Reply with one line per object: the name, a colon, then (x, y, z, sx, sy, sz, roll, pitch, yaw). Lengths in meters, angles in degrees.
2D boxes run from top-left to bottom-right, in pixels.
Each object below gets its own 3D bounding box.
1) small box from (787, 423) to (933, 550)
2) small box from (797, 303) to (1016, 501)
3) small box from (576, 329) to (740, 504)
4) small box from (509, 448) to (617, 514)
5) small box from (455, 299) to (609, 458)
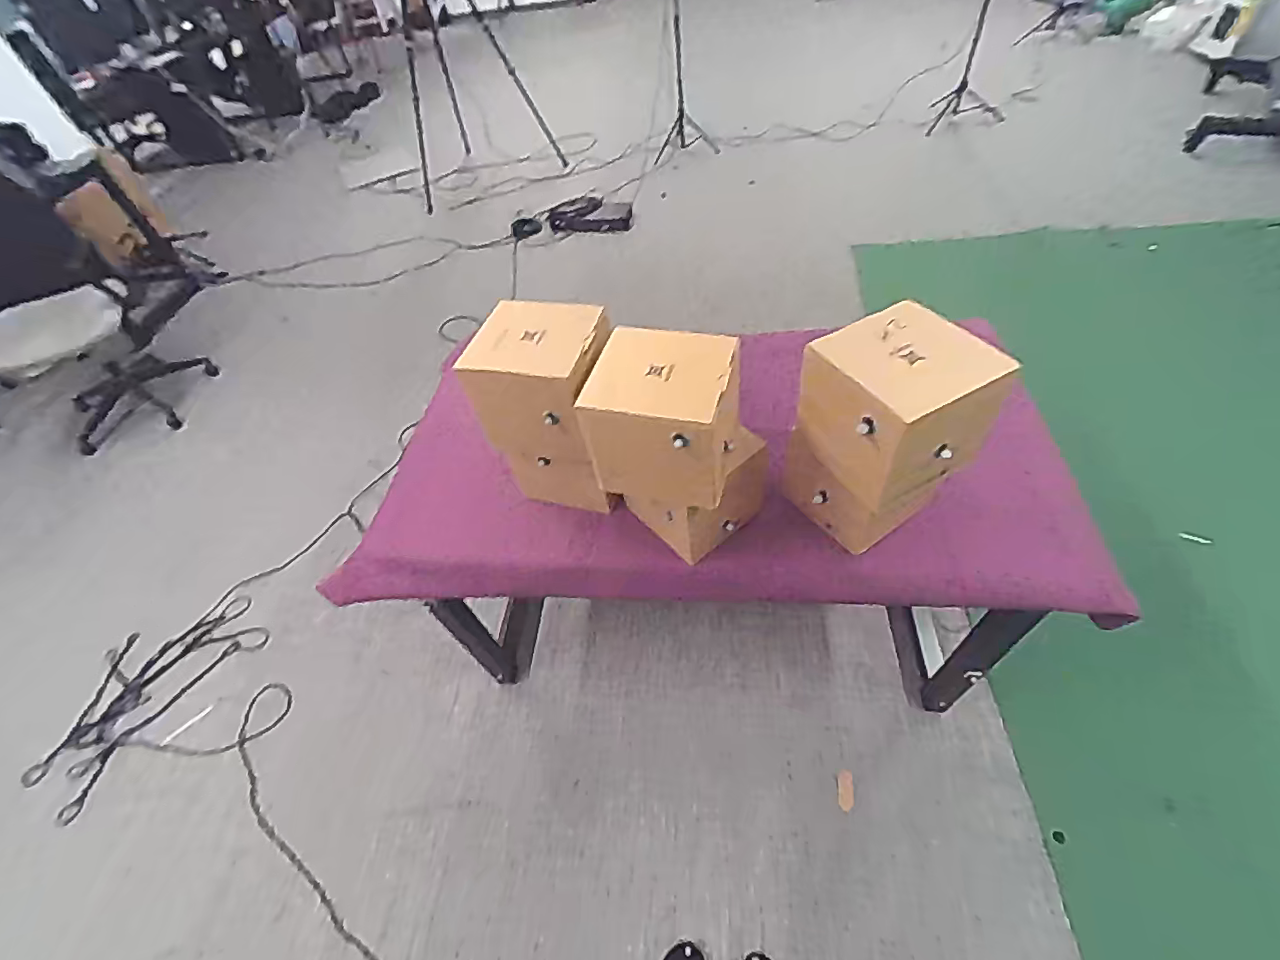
small box: (0.352, -0.021, 0.858, 0.179, 0.176, 0.168, -31, 53, -16)
small box: (0.328, -0.095, 0.707, 0.168, 0.176, 0.179, -25, 50, -12)
small box: (0.035, -0.086, 0.746, 0.179, 0.176, 0.168, 10, 53, 15)
small box: (-0.122, -0.062, 0.966, 0.179, 0.176, 0.168, 17, 54, 13)
small box: (-0.141, -0.152, 0.826, 0.179, 0.176, 0.168, 8, 52, 15)
